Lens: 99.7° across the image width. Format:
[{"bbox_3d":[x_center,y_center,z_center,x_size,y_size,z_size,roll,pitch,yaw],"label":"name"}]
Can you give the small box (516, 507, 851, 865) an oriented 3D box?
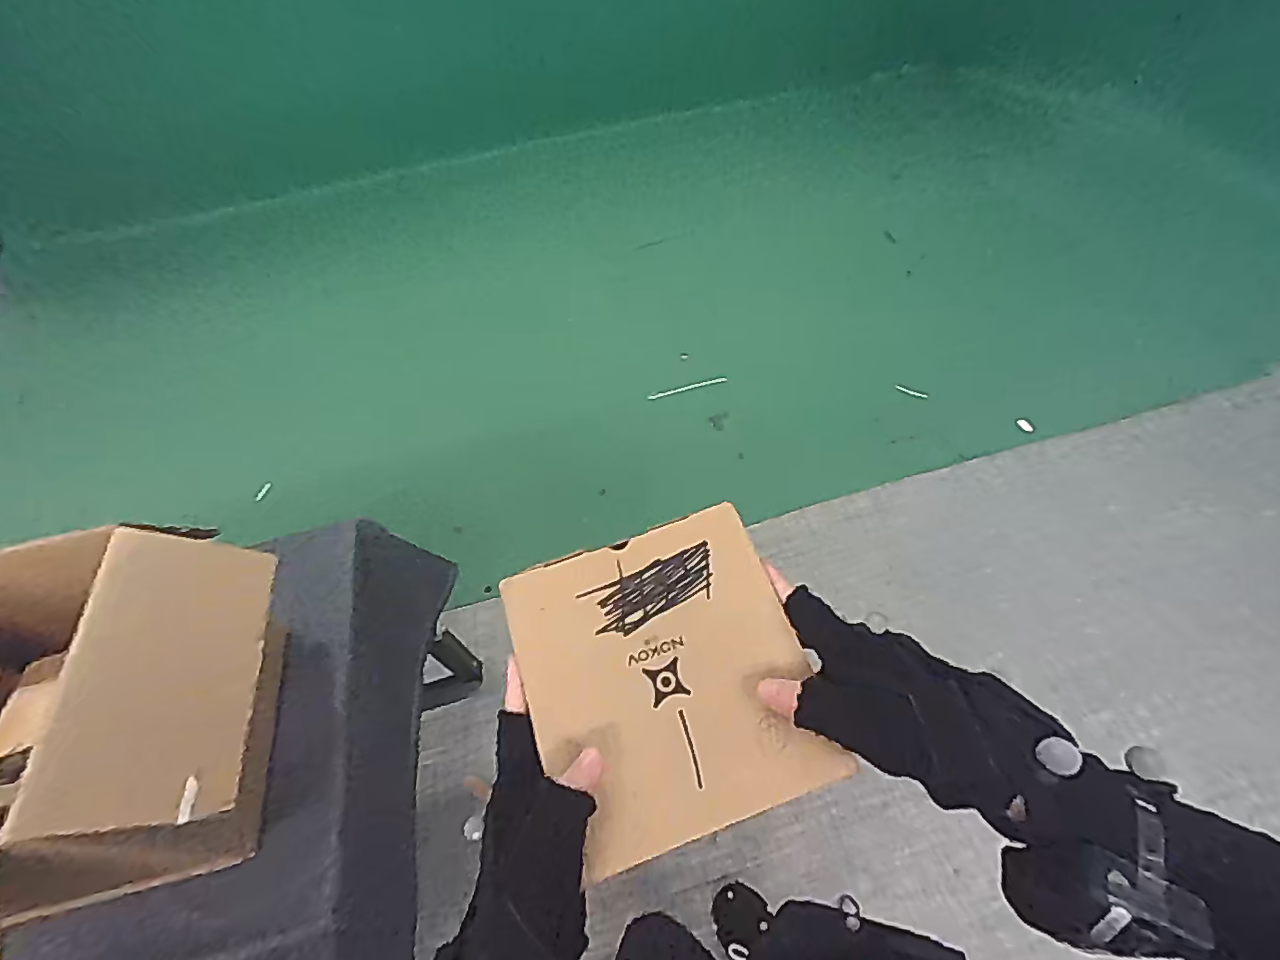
[{"bbox_3d":[0.019,0.149,0.401,0.168,0.176,0.179,-16,63,-6],"label":"small box"}]
